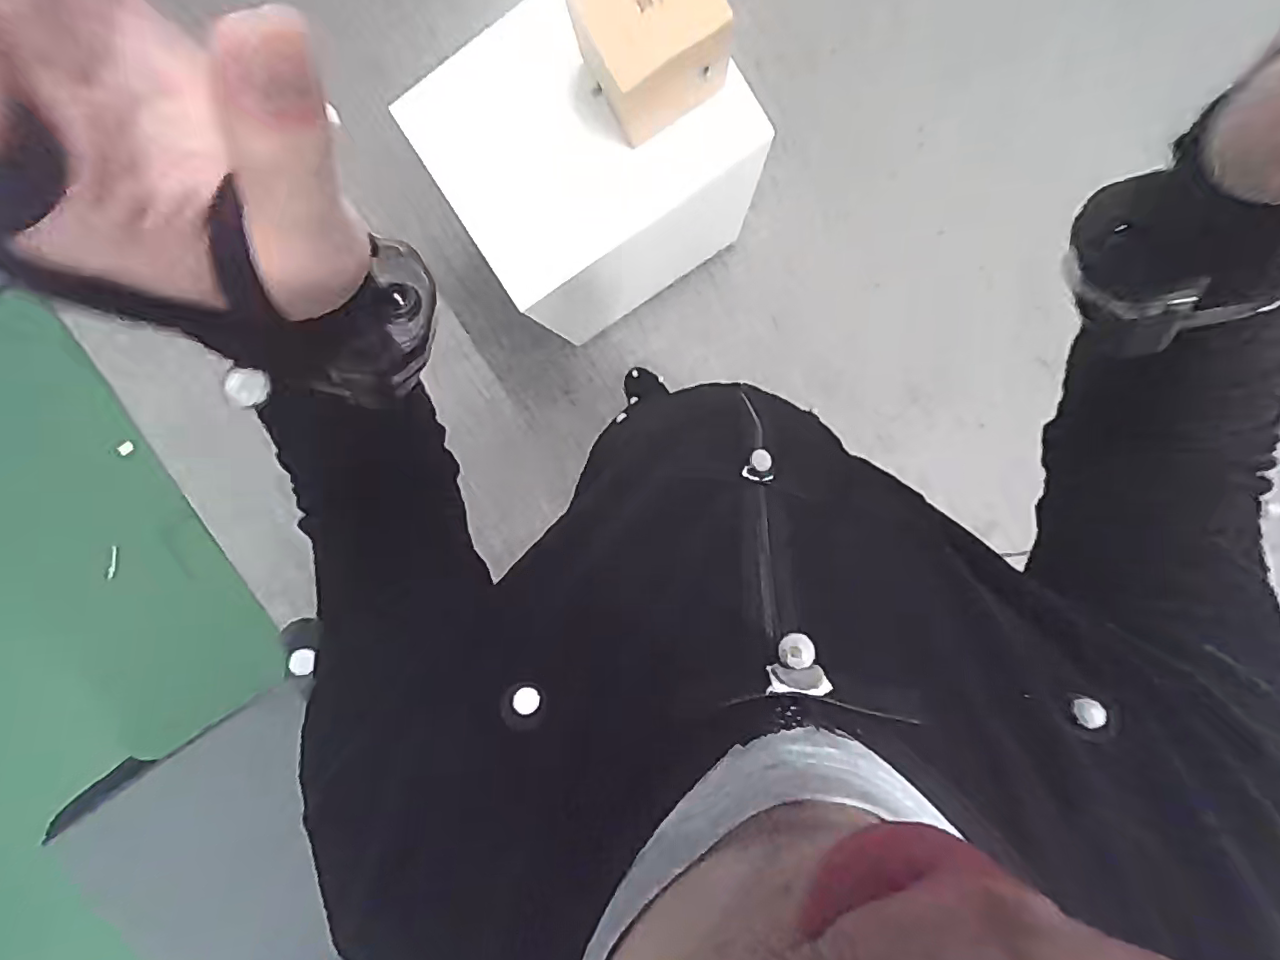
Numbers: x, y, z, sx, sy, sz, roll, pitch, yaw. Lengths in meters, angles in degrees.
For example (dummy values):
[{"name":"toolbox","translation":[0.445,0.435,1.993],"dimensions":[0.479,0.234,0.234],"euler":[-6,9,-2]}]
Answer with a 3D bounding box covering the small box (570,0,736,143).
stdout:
[{"name":"small box","translation":[0.018,-0.640,0.779],"dimensions":[0.179,0.176,0.168],"euler":[-31,94,10]}]
